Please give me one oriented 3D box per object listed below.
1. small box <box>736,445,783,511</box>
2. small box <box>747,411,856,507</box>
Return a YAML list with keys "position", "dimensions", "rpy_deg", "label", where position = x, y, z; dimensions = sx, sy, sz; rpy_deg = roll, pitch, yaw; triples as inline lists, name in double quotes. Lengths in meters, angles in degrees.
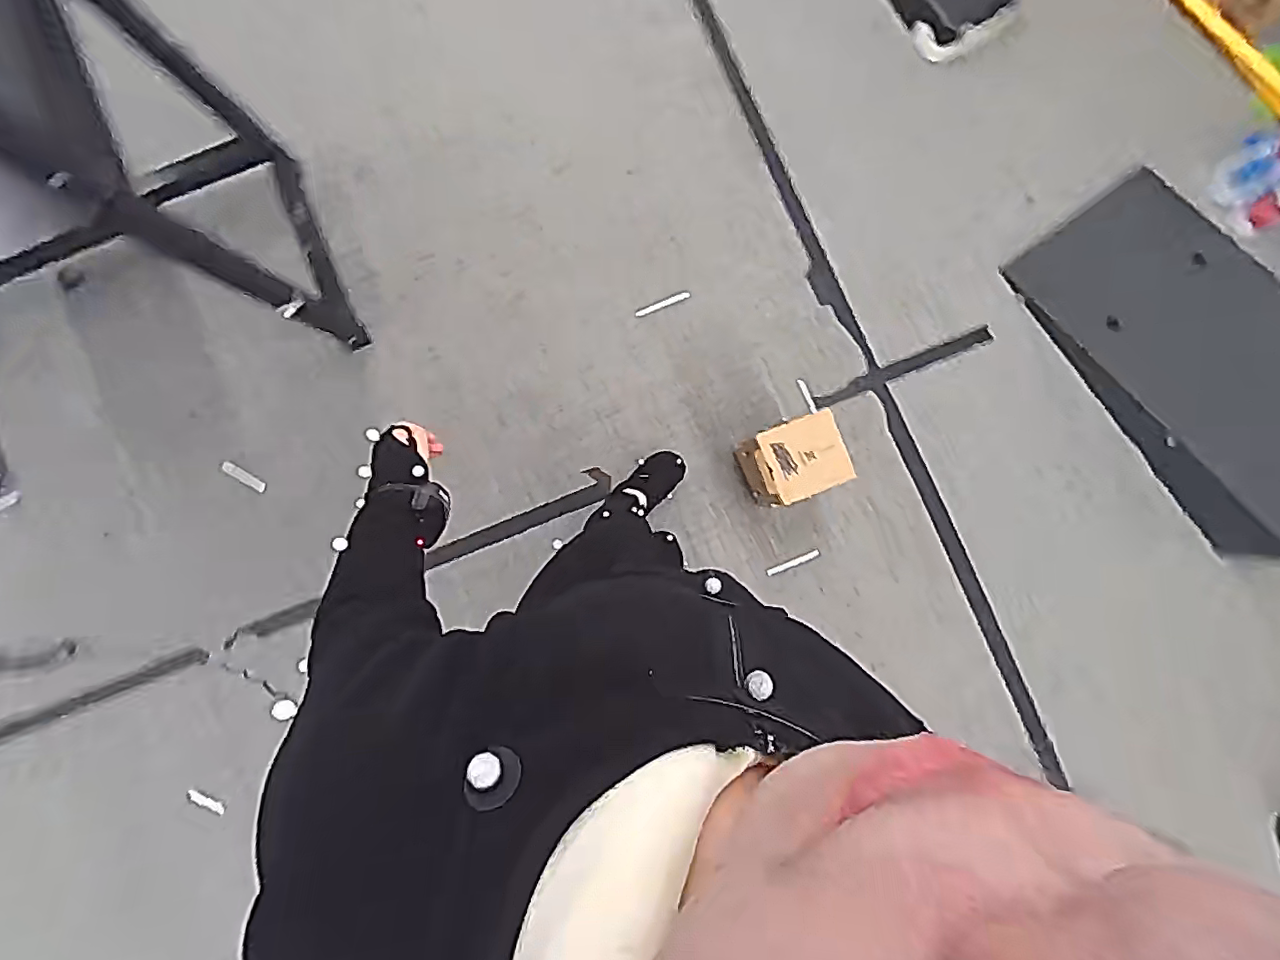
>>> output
- position: [0.365, -0.032, 1.403]
  dimensions: [0.168, 0.176, 0.179]
  rpy_deg: [-24, 88, 0]
  label: "small box"
- position: [0.357, -0.043, 1.240]
  dimensions: [0.179, 0.176, 0.168]
  rpy_deg: [-21, 89, -1]
  label: "small box"
